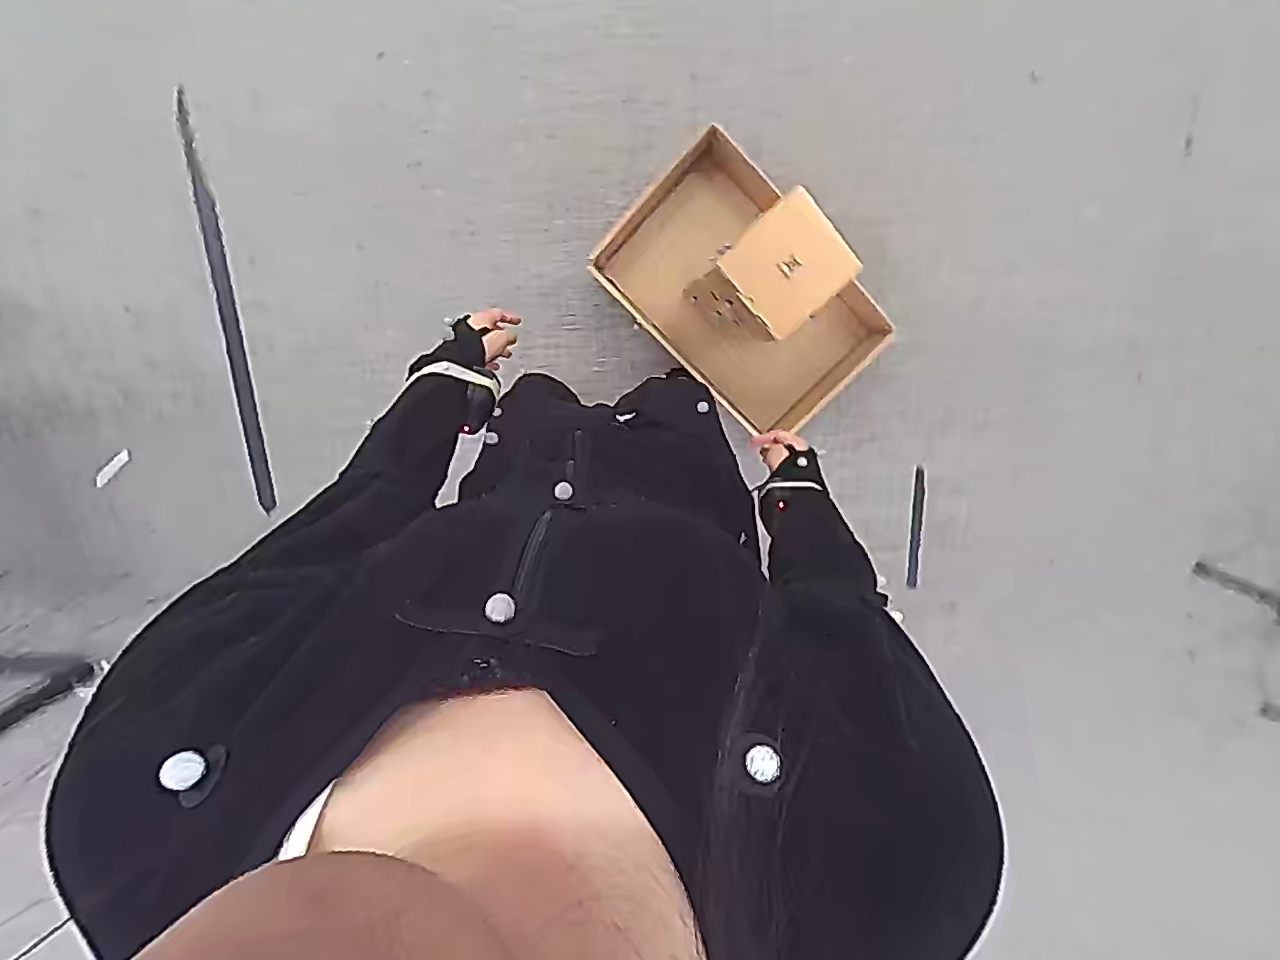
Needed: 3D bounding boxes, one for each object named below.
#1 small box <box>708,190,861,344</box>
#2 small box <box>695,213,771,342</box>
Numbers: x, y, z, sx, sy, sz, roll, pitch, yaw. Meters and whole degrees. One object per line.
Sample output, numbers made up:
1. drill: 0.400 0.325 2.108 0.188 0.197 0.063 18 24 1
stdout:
1. small box: 0.238 -0.359 0.941 0.179 0.176 0.168 -41 102 9
2. small box: 0.226 -0.400 1.099 0.179 0.176 0.168 -41 102 10
